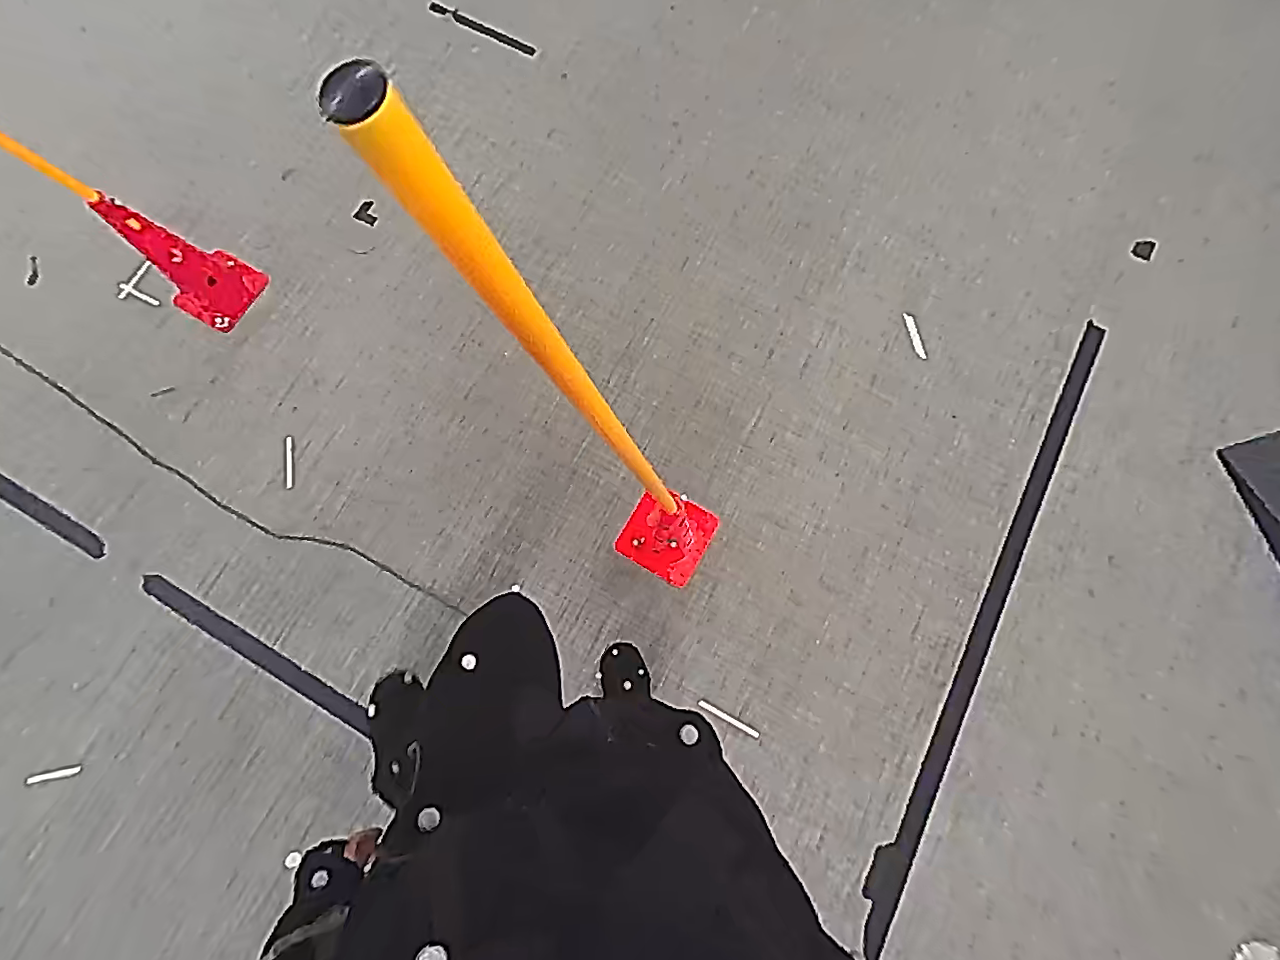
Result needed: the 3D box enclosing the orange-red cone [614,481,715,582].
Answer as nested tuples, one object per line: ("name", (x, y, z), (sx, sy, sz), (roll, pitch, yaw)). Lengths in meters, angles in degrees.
("orange-red cone", (0.056, 0.085, 1.146), (0.199, 0.360, 0.198), (31, 80, 7))
